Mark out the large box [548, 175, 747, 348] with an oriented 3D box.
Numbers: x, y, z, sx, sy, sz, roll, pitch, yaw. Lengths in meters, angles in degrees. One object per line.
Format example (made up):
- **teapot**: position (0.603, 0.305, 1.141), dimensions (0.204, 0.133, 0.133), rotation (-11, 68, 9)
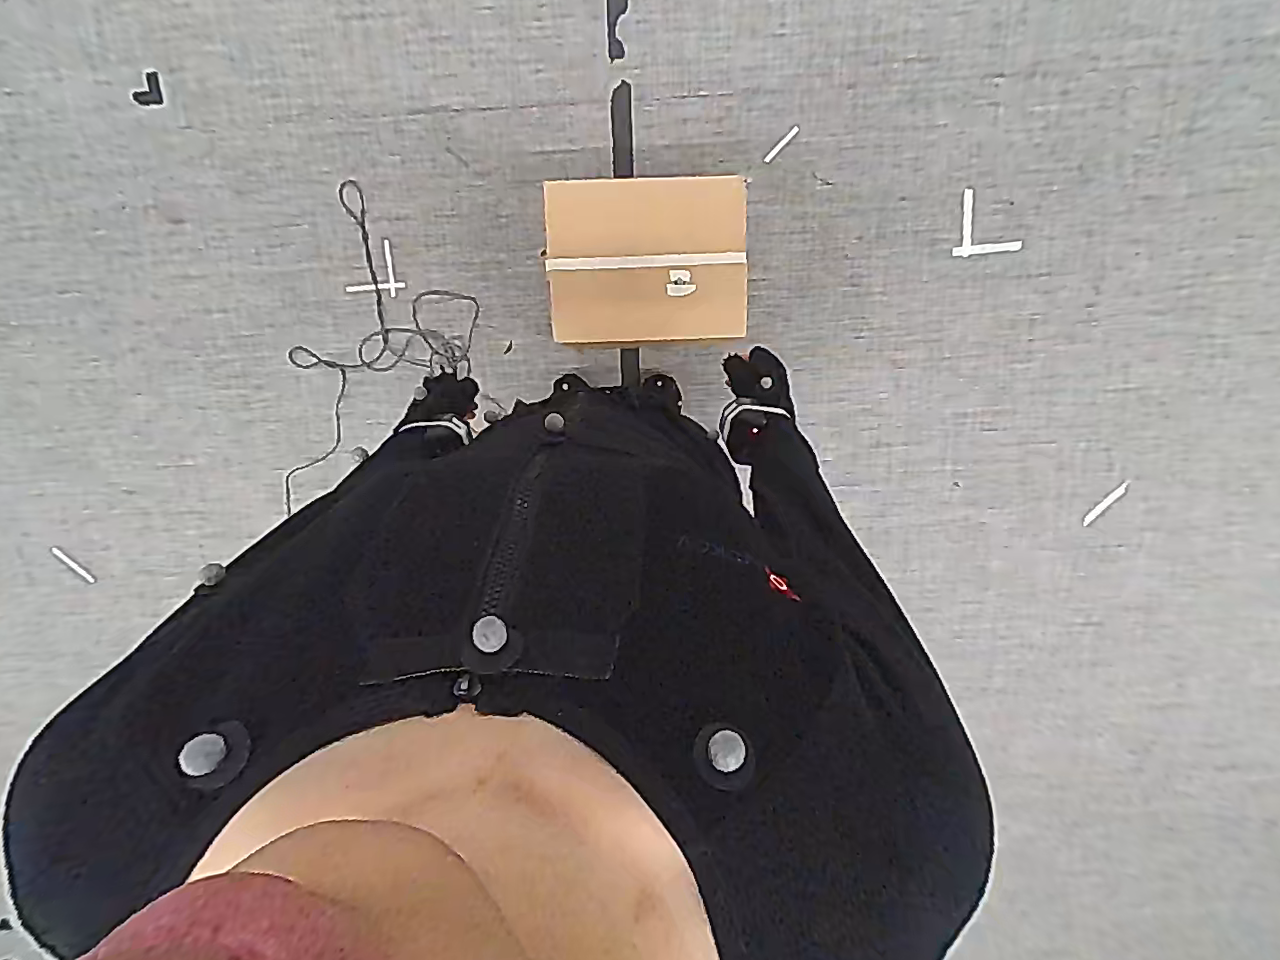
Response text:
- **large box**: position (0.017, -0.481, 1.258), dimensions (0.408, 0.320, 0.320), rotation (-2, 102, 0)
